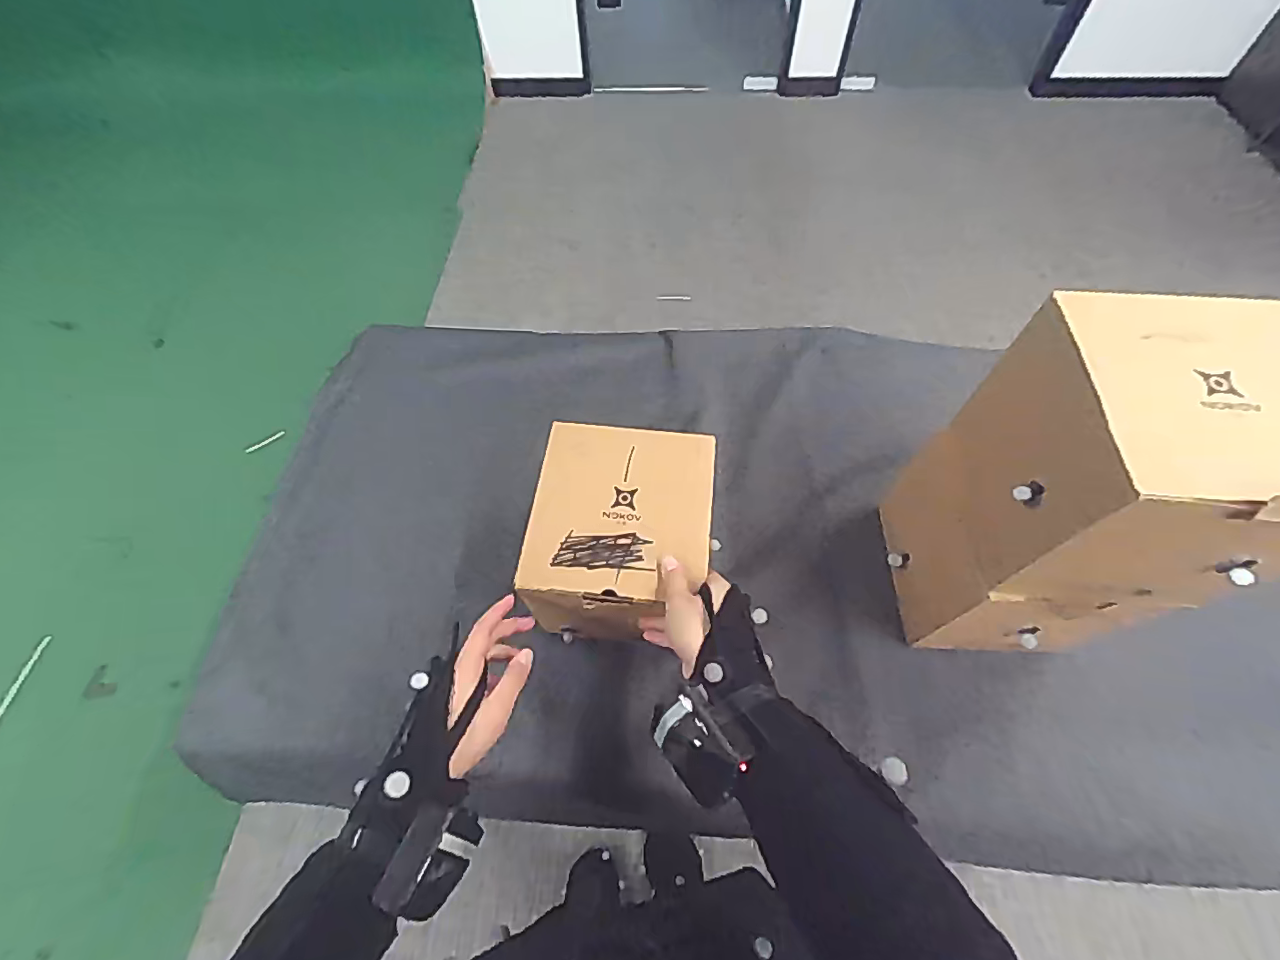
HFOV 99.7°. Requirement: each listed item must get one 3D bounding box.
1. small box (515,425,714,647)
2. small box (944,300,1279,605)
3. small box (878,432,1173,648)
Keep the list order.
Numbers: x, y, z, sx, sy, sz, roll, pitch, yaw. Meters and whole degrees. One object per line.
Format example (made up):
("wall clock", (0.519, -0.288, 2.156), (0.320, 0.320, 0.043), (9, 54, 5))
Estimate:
("small box", (-0.016, 0.066, 0.572), (0.168, 0.176, 0.179), (6, 60, 4))
("small box", (0.370, -0.014, 0.421), (0.168, 0.176, 0.179), (4, 58, 3))
("small box", (0.369, 0.069, 0.561), (0.168, 0.176, 0.179), (2, 60, 2))
